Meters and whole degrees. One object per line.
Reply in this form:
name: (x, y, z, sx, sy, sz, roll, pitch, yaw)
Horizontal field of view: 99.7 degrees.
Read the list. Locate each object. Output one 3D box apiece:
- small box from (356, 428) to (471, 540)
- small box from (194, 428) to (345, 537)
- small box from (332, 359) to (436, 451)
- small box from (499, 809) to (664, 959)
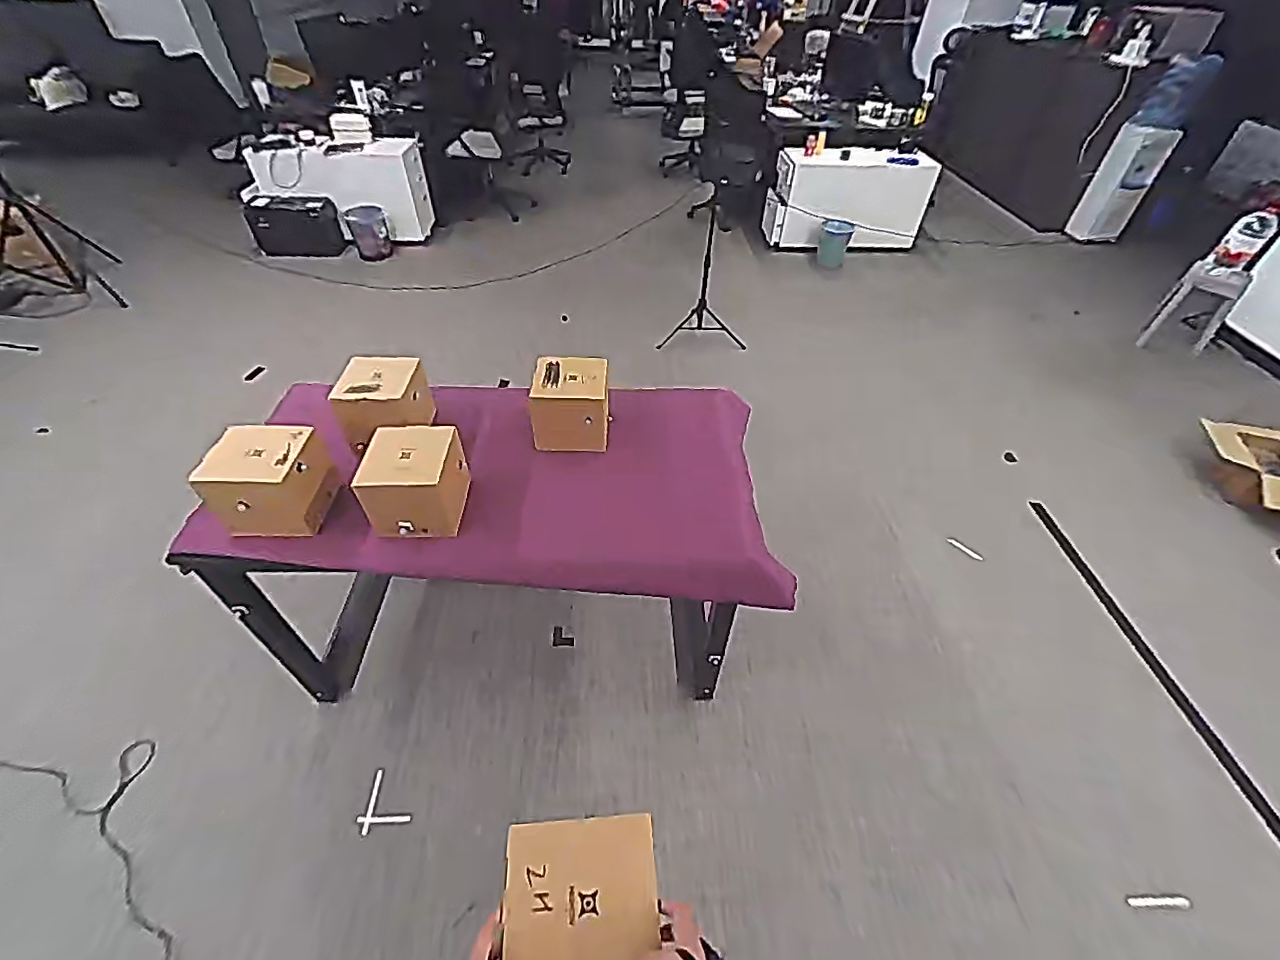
small box: (-0.469, 0.008, 1.152, 0.168, 0.176, 0.179, -1, 47, -2)
small box: (-0.764, 0.007, 1.140, 0.179, 0.176, 0.168, 0, 46, -1)
small box: (-0.618, -0.179, 1.332, 0.168, 0.176, 0.179, 0, 45, -2)
small box: (-0.070, 0.522, 0.671, 0.179, 0.176, 0.168, -3, 49, -4)
